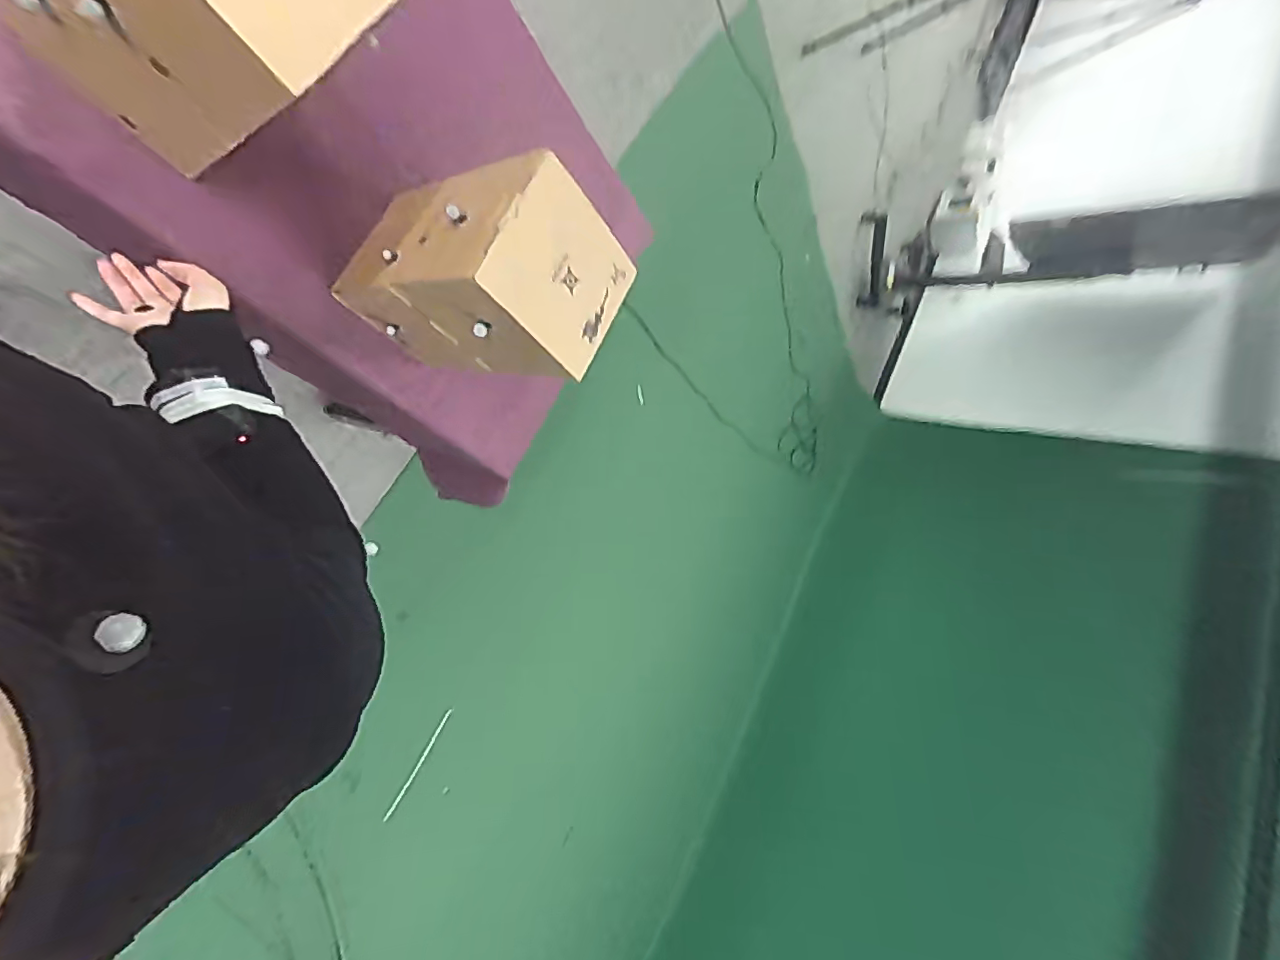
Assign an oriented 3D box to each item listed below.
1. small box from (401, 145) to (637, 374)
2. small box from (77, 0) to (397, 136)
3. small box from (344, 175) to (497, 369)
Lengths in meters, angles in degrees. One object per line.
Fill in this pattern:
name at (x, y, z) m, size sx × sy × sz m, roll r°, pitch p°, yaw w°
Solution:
small box at (-0.141, -0.242, 0.635) m, size 0.179 × 0.176 × 0.168 m, roll 40°, pitch 71°, yaw -47°
small box at (-0.302, -0.398, 0.397) m, size 0.168 × 0.176 × 0.179 m, roll 47°, pitch 64°, yaw -45°
small box at (-0.265, -0.275, 0.739) m, size 0.168 × 0.176 × 0.179 m, roll 41°, pitch 70°, yaw -48°
